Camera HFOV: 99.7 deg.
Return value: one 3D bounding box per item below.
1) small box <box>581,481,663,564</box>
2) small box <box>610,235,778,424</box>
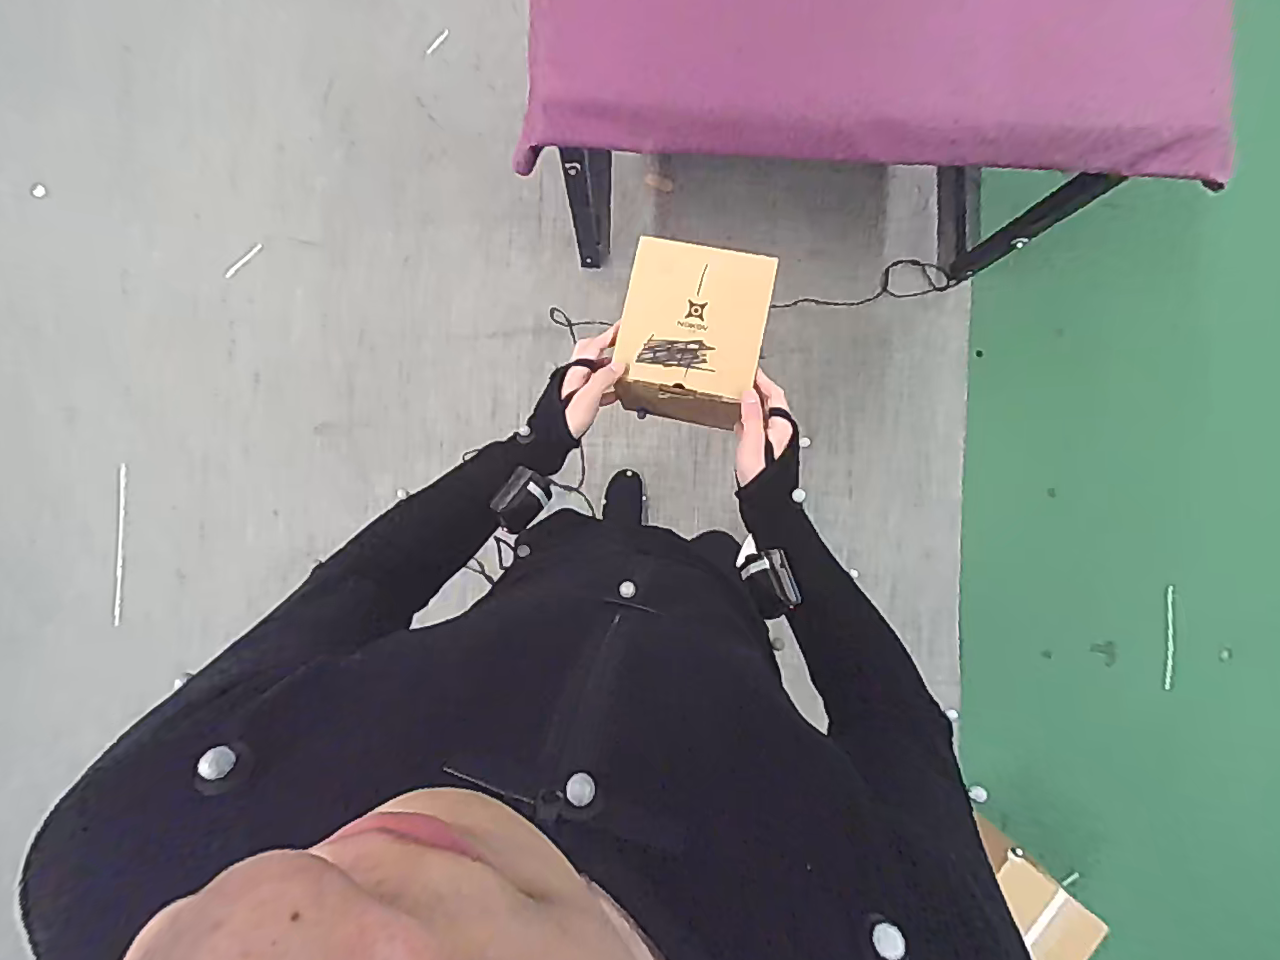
[{"bbox_3d":[-0.049,0.123,1.585,0.168,0.176,0.179,38,88,5],"label":"small box"},{"bbox_3d":[0.068,-0.180,0.699,0.168,0.176,0.179,12,85,5],"label":"small box"}]
